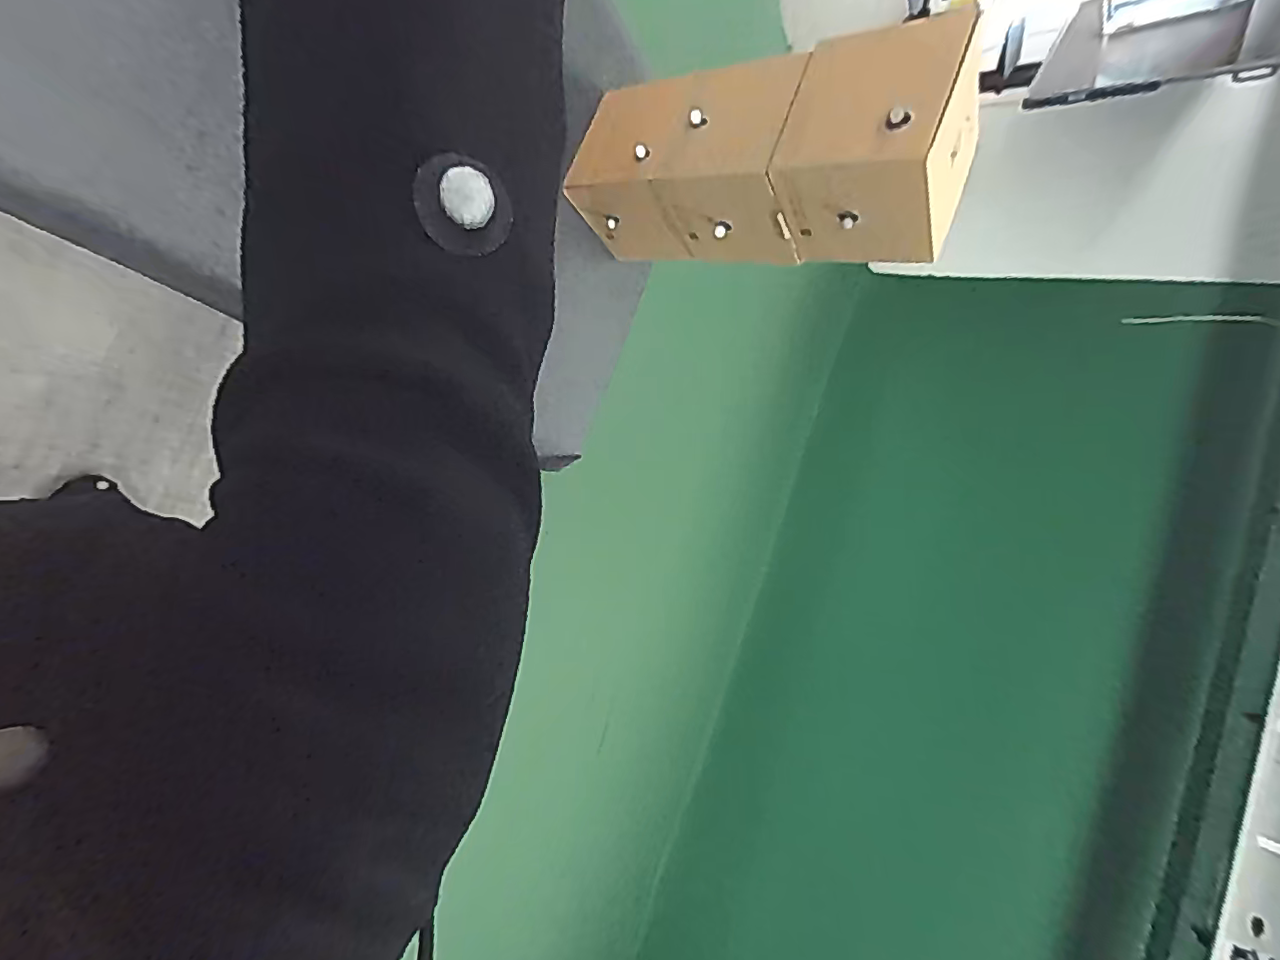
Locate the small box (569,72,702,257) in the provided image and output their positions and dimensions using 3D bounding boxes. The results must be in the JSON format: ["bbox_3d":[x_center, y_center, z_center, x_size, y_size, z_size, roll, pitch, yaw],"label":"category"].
[{"bbox_3d":[0.020,-0.466,0.820,0.168,0.176,0.179,32,78,-56],"label":"small box"}]

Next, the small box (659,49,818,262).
[{"bbox_3d":[0.147,-0.421,0.727,0.168,0.176,0.179,33,79,-56],"label":"small box"}]

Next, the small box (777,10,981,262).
[{"bbox_3d":[0.275,-0.380,0.630,0.168,0.176,0.179,30,80,-56],"label":"small box"}]
